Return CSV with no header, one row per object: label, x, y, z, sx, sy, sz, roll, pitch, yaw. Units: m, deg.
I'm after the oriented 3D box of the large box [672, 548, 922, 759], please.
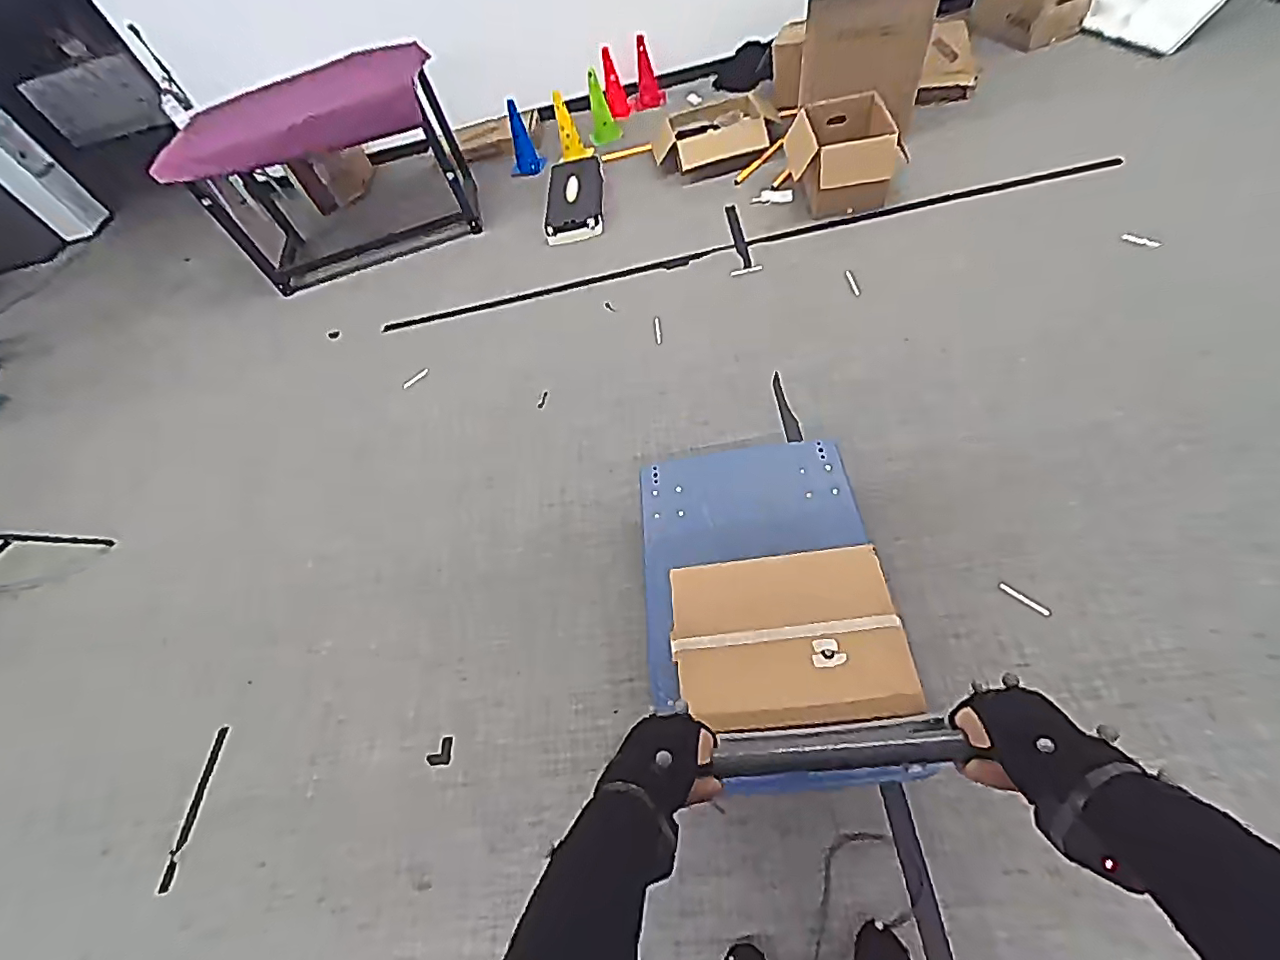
large box,0.294,0.374,1.127,0.408,0.320,0.320,-9,56,6
